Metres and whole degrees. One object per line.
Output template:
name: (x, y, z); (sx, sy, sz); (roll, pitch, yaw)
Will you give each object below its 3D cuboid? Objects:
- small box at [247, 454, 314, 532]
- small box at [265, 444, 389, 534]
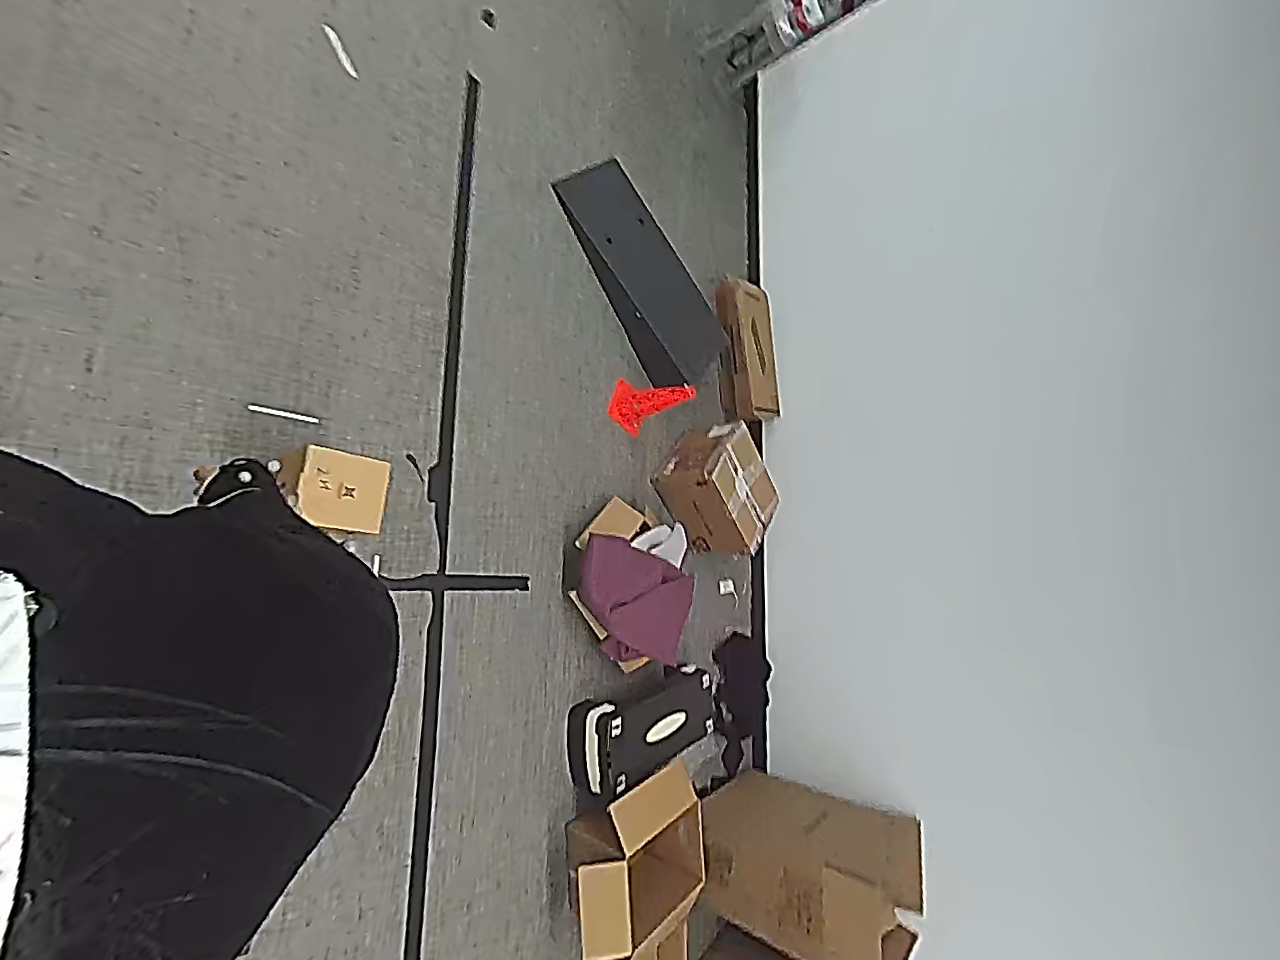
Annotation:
small box: (-0.826, 0.040, 1.313); (0.179, 0.176, 0.168); (10, 77, -48)
small box: (-0.698, 0.028, 1.208); (0.179, 0.176, 0.168); (19, 71, -47)
